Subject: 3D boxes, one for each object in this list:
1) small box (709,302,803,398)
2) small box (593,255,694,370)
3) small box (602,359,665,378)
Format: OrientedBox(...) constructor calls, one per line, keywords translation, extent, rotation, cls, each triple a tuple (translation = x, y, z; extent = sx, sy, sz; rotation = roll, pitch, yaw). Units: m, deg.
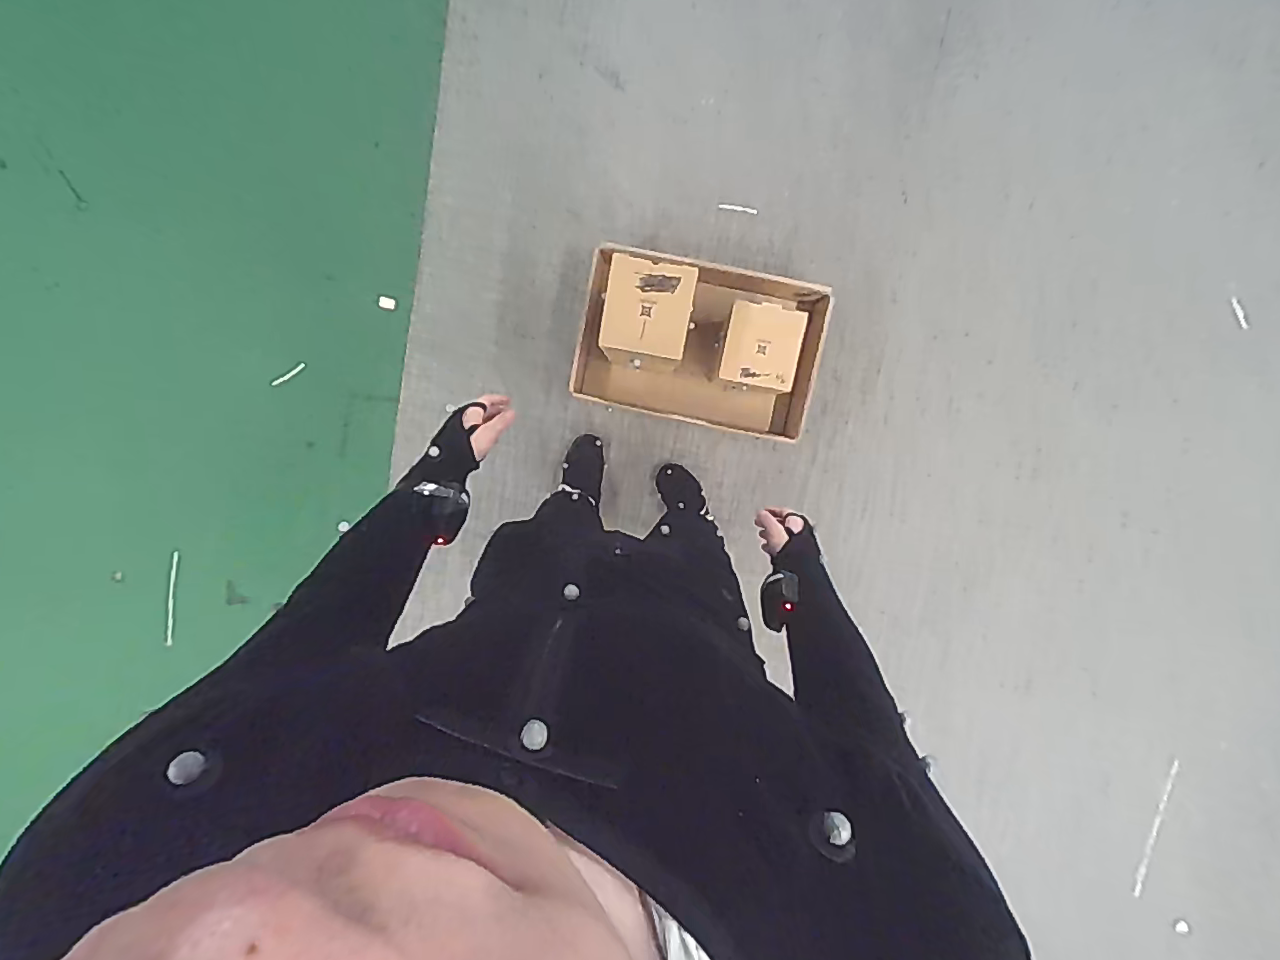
OrientedBox(translation=(0.262, -0.295, 1.263), extent=(0.168, 0.176, 0.179), rotation=(12, 97, 2), cls="small box")
OrientedBox(translation=(0.005, -0.331, 1.100), extent=(0.168, 0.176, 0.179), rotation=(11, 98, -1), cls="small box")
OrientedBox(translation=(0.002, -0.372, 1.423), extent=(0.168, 0.176, 0.179), rotation=(12, 97, -1), cls="small box")
